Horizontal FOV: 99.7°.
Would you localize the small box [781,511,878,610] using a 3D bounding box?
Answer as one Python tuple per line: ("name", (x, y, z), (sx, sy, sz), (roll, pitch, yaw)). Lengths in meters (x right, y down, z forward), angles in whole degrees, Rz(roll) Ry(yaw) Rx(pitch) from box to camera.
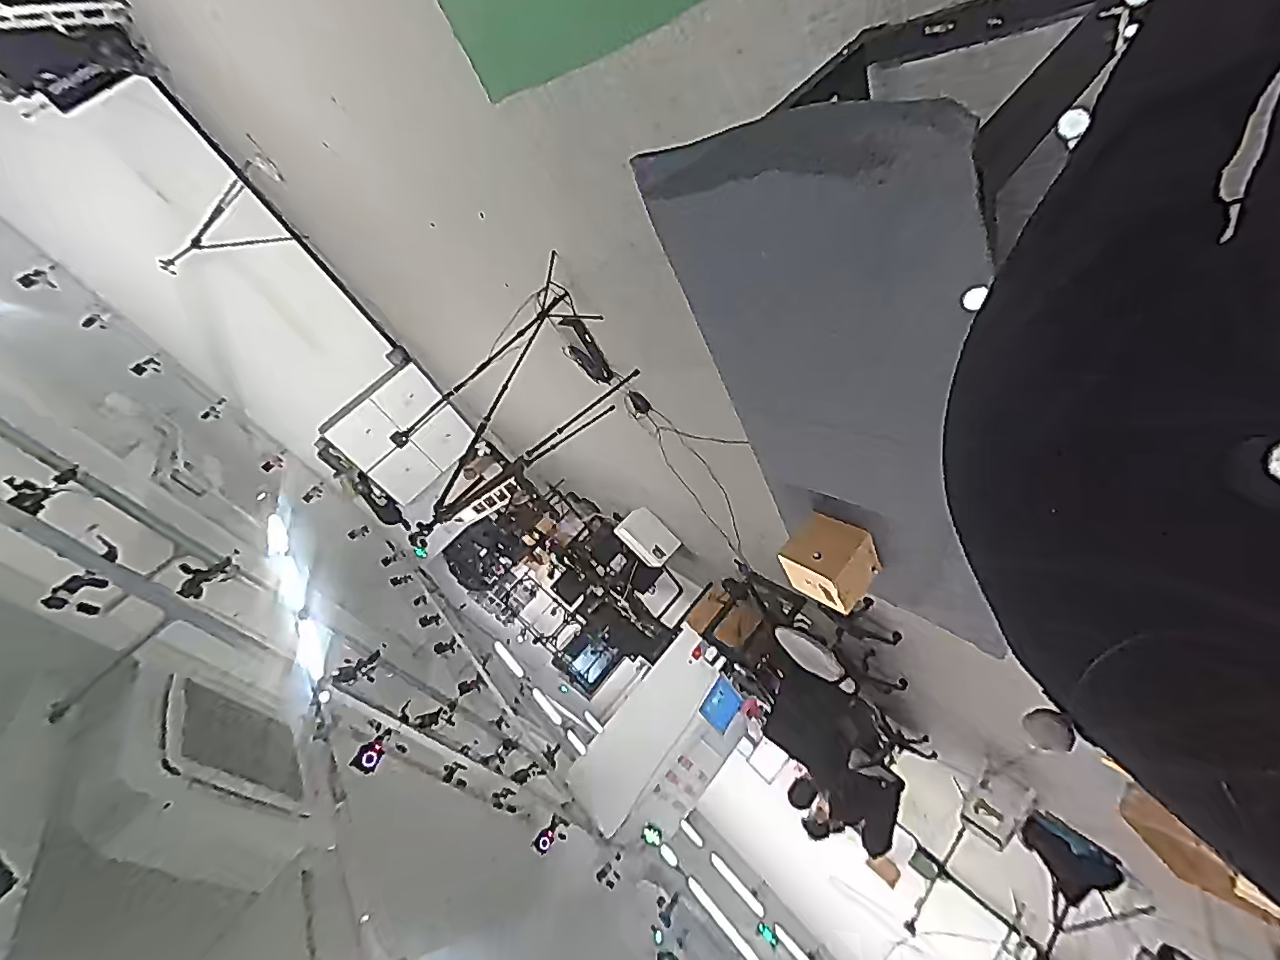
("small box", (0.515, 0.207, 1.447), (0.179, 0.176, 0.168), (25, 156, 49))
